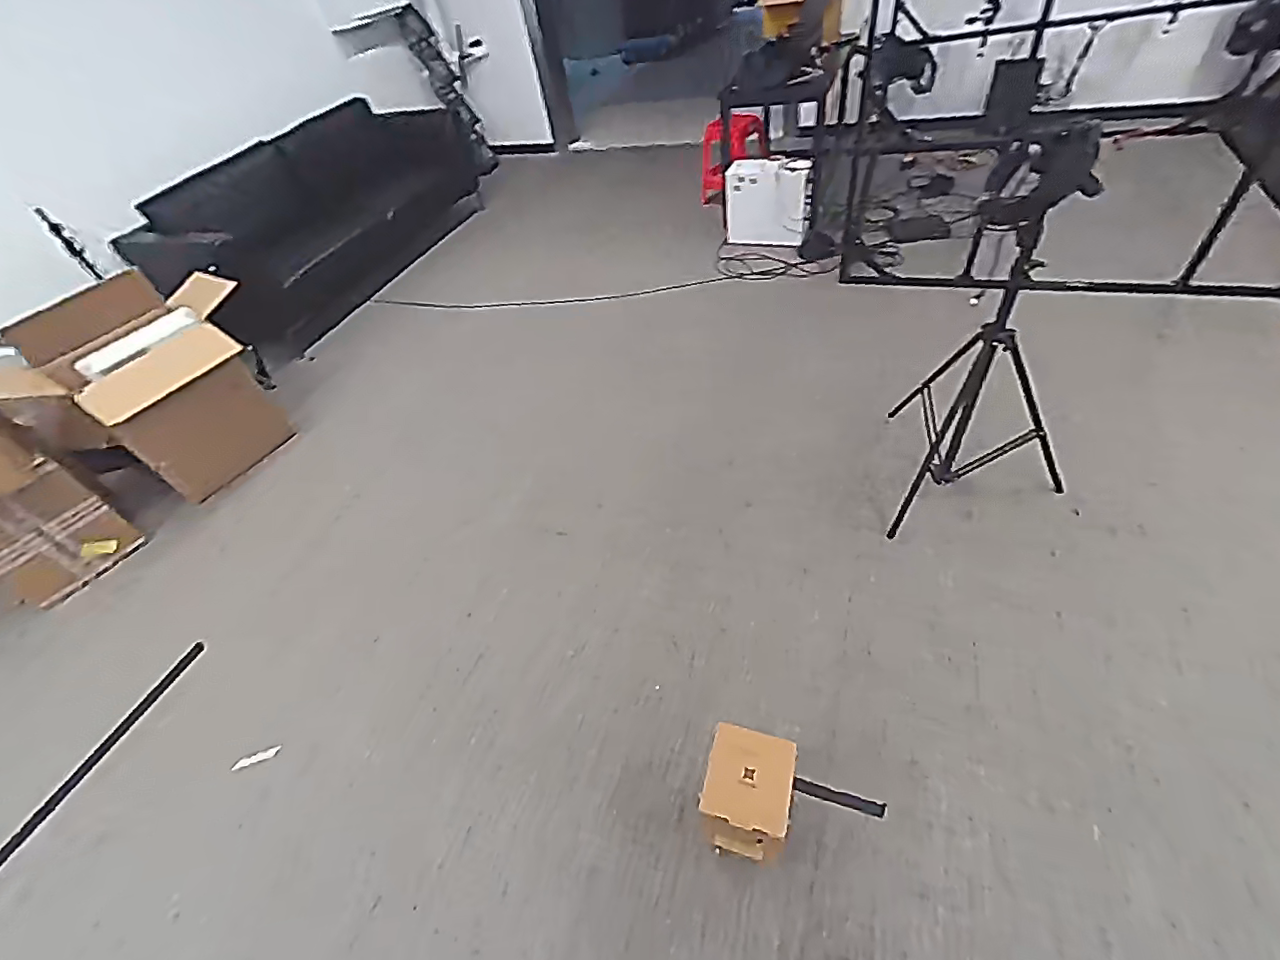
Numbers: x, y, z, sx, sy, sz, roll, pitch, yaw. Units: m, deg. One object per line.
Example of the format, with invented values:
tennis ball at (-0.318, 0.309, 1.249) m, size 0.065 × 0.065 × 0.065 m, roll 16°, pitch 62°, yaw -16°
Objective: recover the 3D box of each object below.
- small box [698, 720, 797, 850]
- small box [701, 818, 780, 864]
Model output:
small box at (0.225, 0.632, 1.116) m, size 0.168 × 0.176 × 0.179 m, roll 9°, pitch 49°, yaw 18°
small box at (0.246, 0.742, 1.234) m, size 0.168 × 0.176 × 0.179 m, roll 9°, pitch 49°, yaw 19°
